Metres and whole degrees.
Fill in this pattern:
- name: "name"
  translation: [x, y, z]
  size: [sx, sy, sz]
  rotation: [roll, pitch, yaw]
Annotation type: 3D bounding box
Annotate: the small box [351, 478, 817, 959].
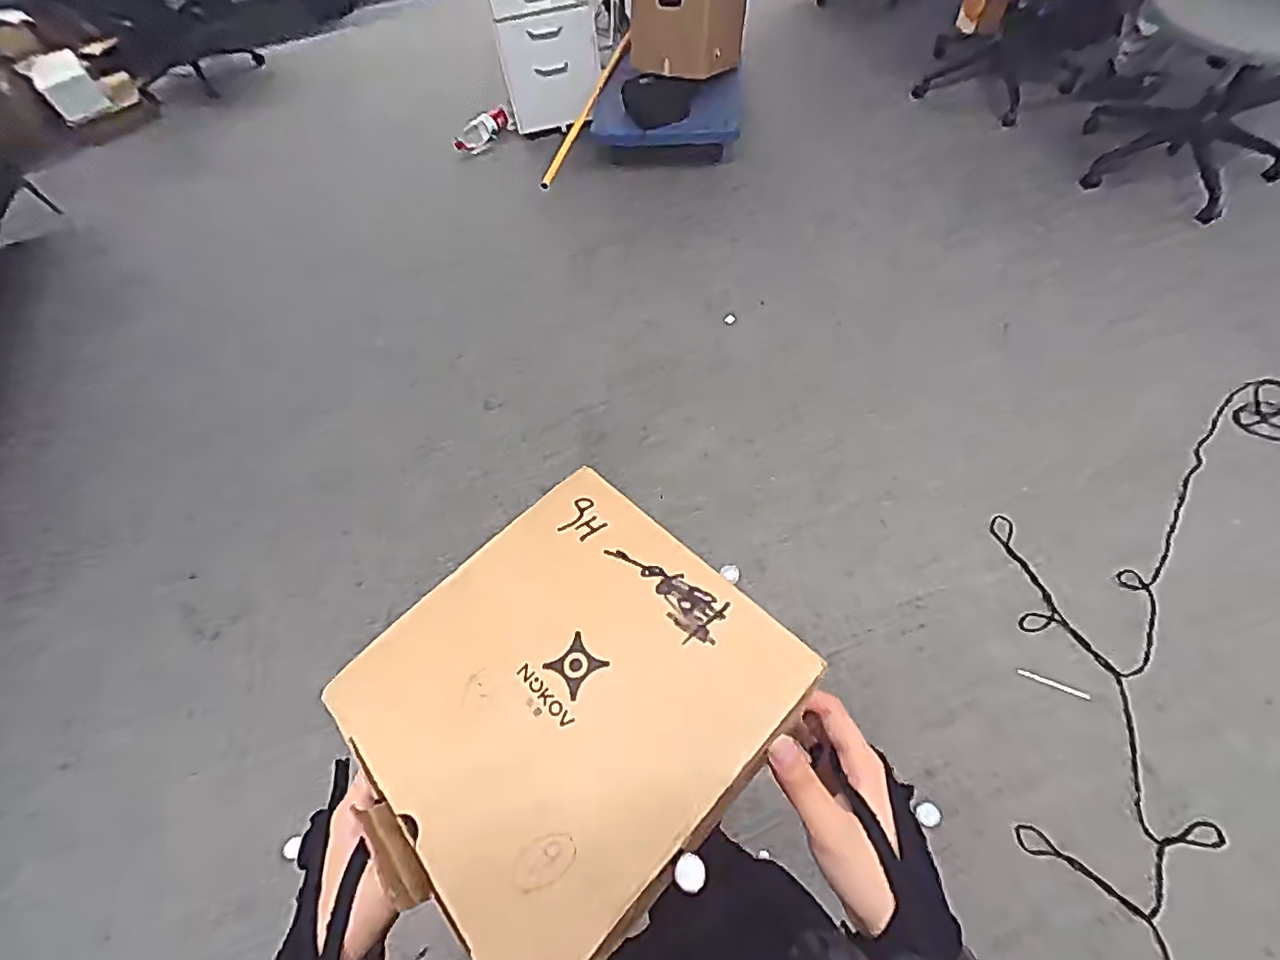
- name: "small box"
  translation: [-0.020, 0.140, 0.325]
  size: [0.179, 0.176, 0.168]
  rotation: [-42, 60, -18]
